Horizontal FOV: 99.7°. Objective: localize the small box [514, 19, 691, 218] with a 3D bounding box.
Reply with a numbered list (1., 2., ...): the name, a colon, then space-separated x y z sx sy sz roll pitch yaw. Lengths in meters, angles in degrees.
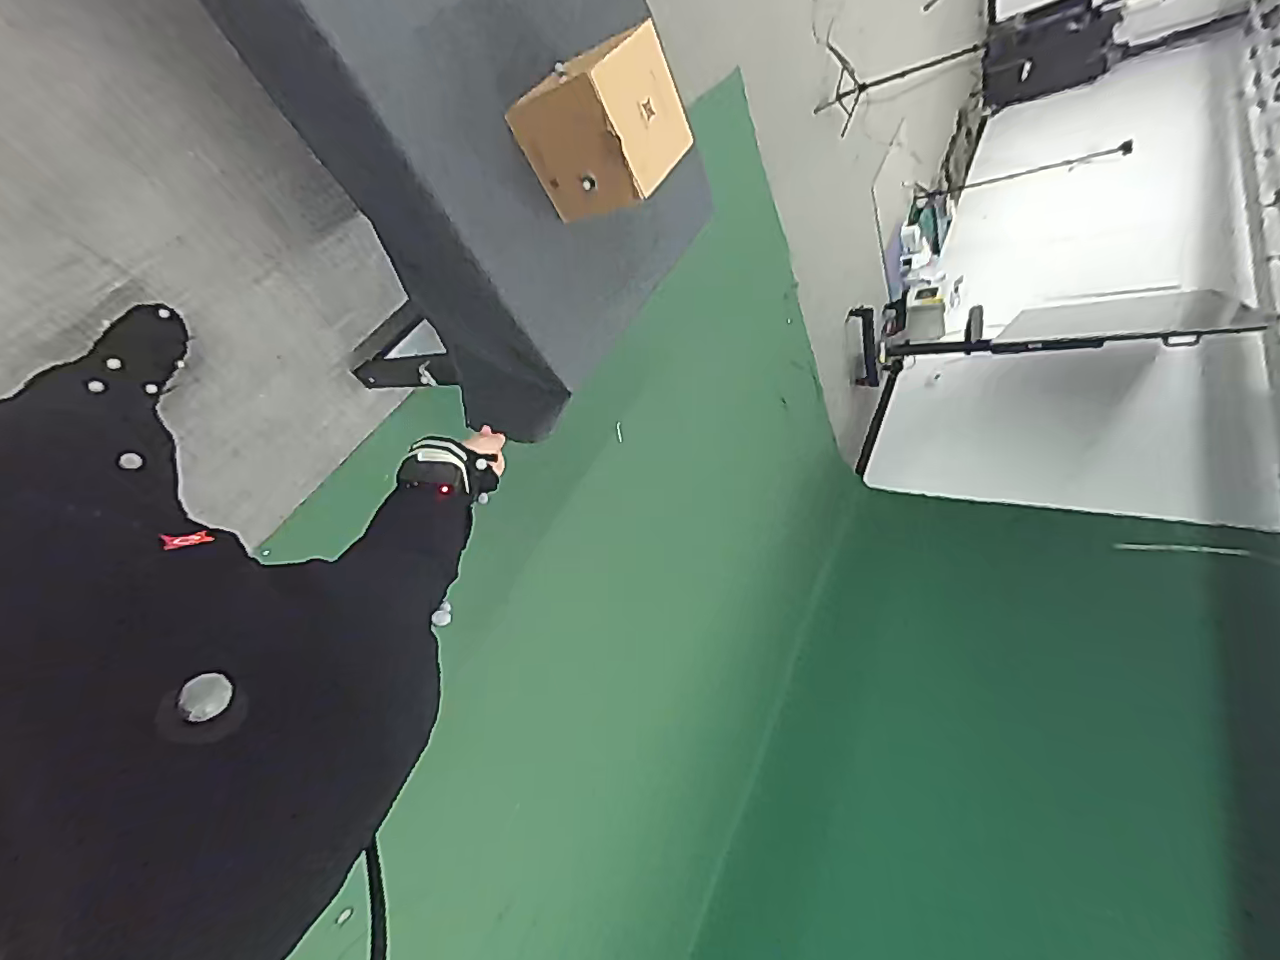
1. small box: -0.056 -0.515 0.791 0.179 0.176 0.168 -61 138 -28
